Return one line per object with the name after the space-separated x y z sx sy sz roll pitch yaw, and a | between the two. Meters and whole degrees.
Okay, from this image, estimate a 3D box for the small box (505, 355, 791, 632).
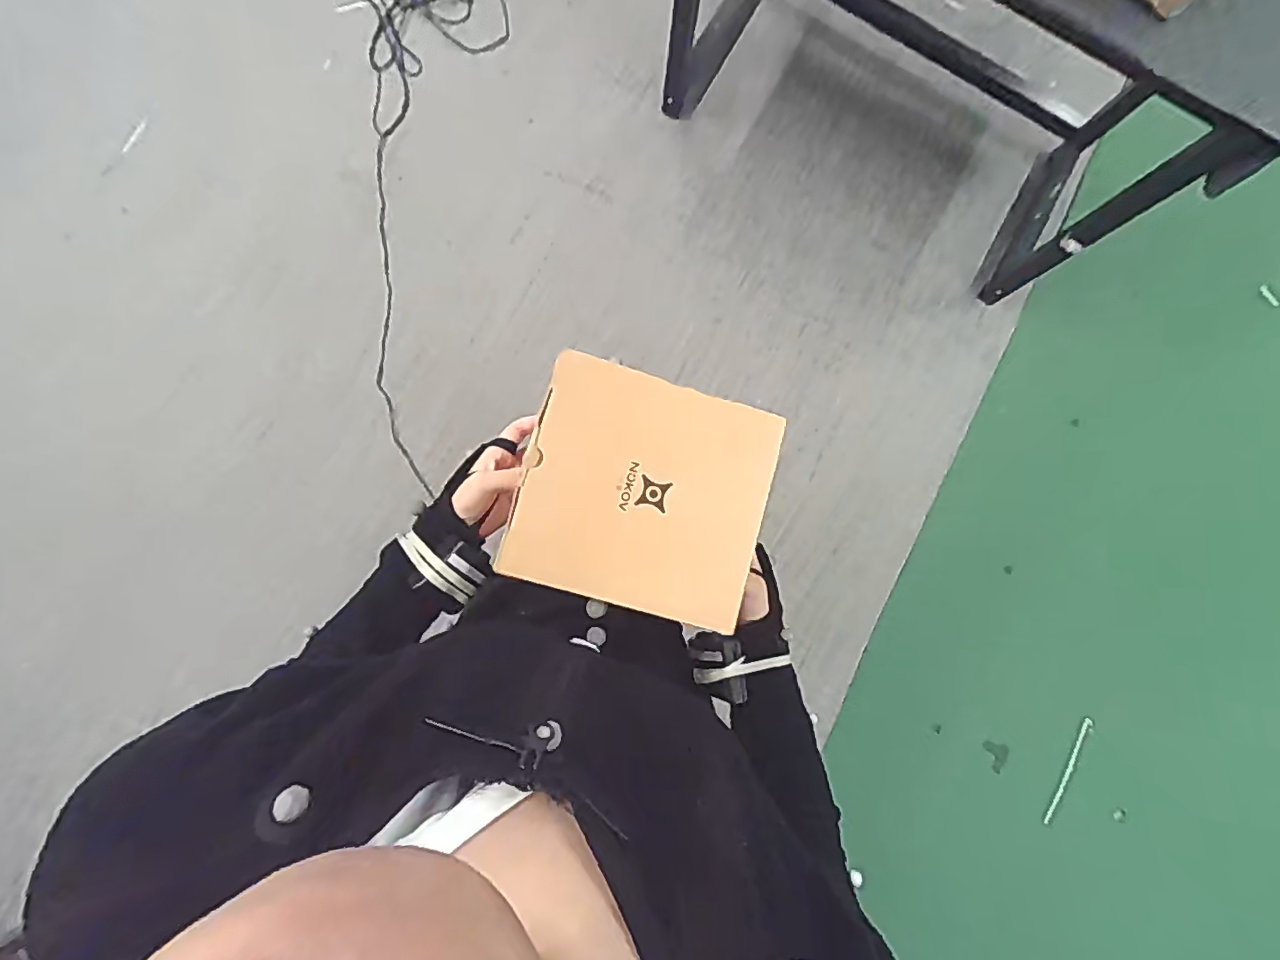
0.001 0.015 0.470 0.179 0.176 0.168 17 84 -5 | small box
